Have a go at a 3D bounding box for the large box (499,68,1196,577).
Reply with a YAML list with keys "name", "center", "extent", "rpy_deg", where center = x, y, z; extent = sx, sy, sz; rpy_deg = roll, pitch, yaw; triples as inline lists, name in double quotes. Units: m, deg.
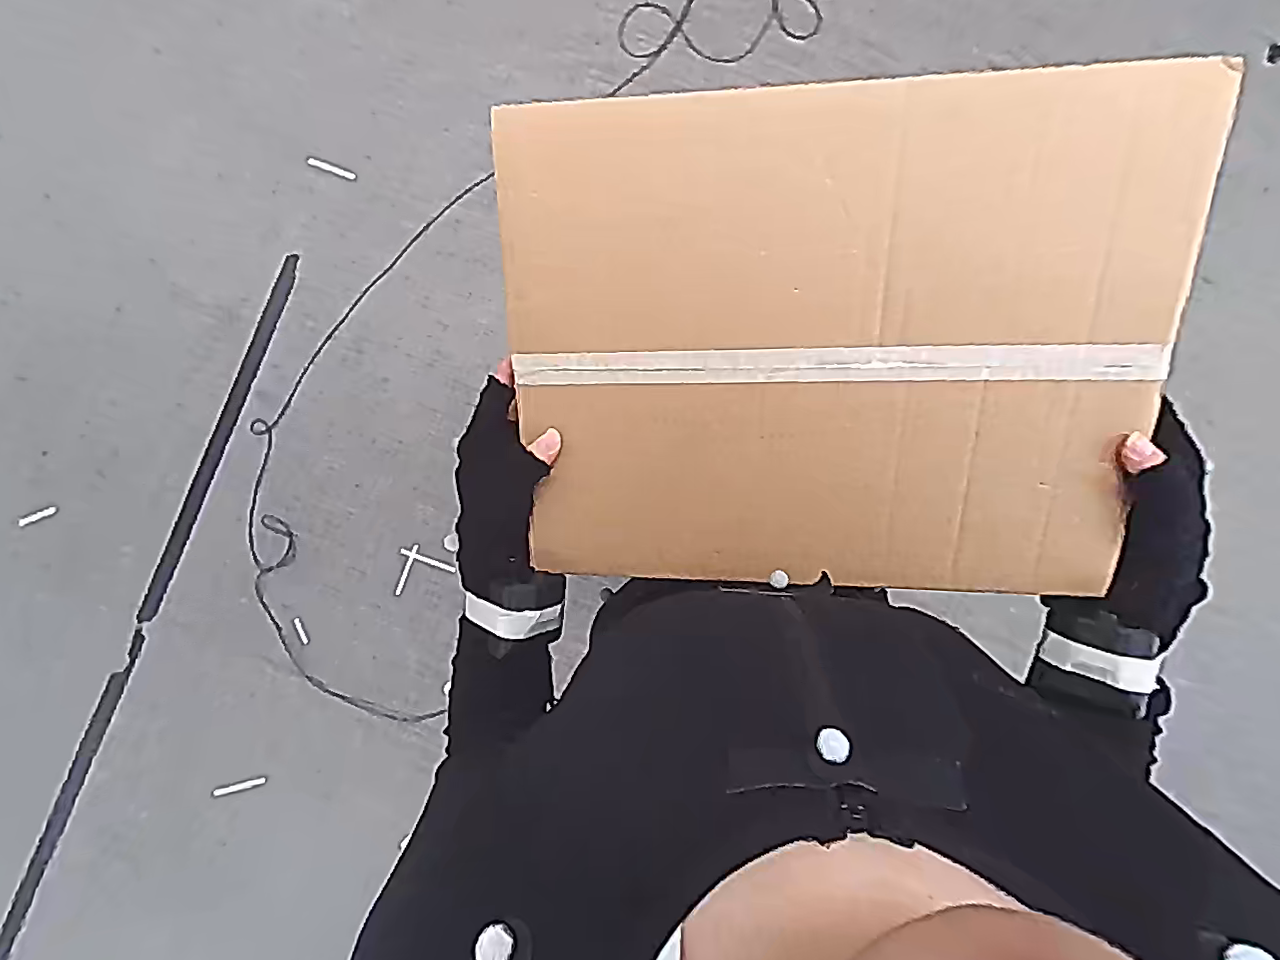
- name: "large box"
  center: [0.127, -0.121, 0.501]
  extent: [0.408, 0.320, 0.320]
  rpy_deg: [1, 108, 7]
